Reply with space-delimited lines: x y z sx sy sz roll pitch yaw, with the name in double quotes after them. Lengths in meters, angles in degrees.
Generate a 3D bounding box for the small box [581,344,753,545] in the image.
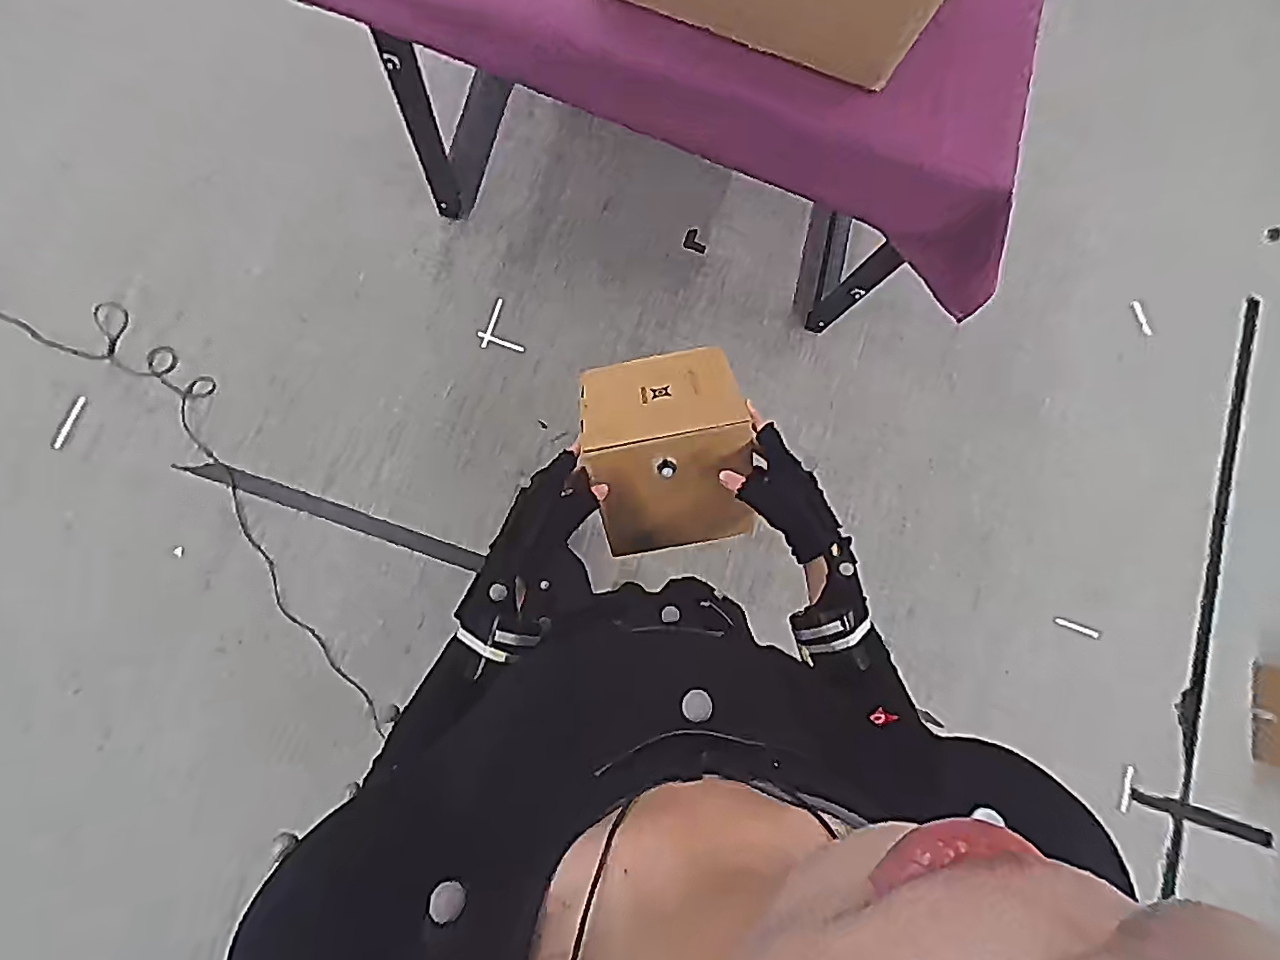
0.034 -0.040 0.652 0.179 0.176 0.168 -9 41 3 "small box"
